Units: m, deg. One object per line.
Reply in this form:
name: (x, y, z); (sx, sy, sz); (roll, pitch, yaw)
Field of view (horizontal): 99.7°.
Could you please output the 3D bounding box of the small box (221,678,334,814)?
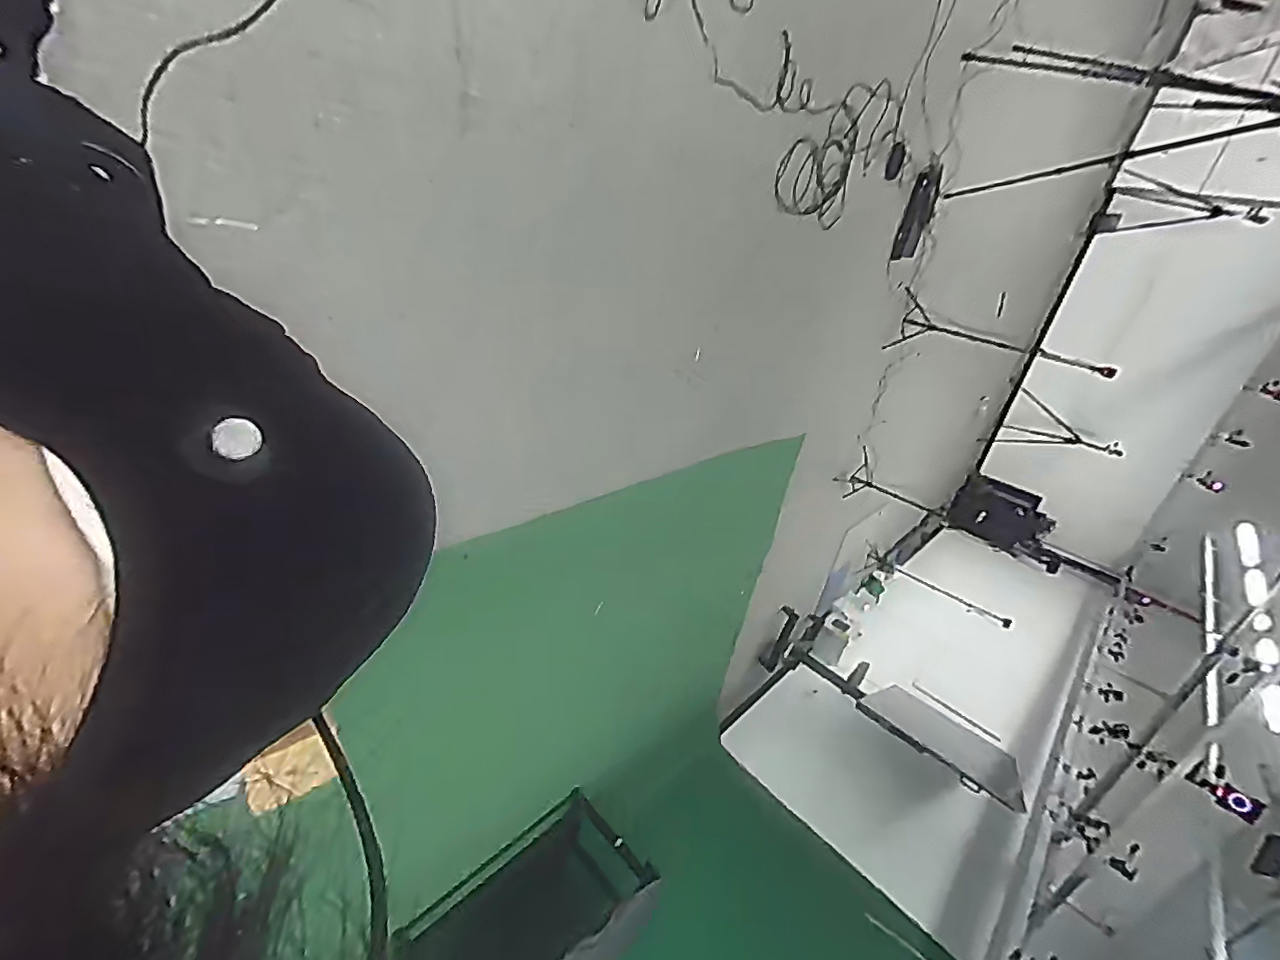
small box: (-0.810, 0.582, 1.206); (0.179, 0.176, 0.168); (-15, 126, -43)
